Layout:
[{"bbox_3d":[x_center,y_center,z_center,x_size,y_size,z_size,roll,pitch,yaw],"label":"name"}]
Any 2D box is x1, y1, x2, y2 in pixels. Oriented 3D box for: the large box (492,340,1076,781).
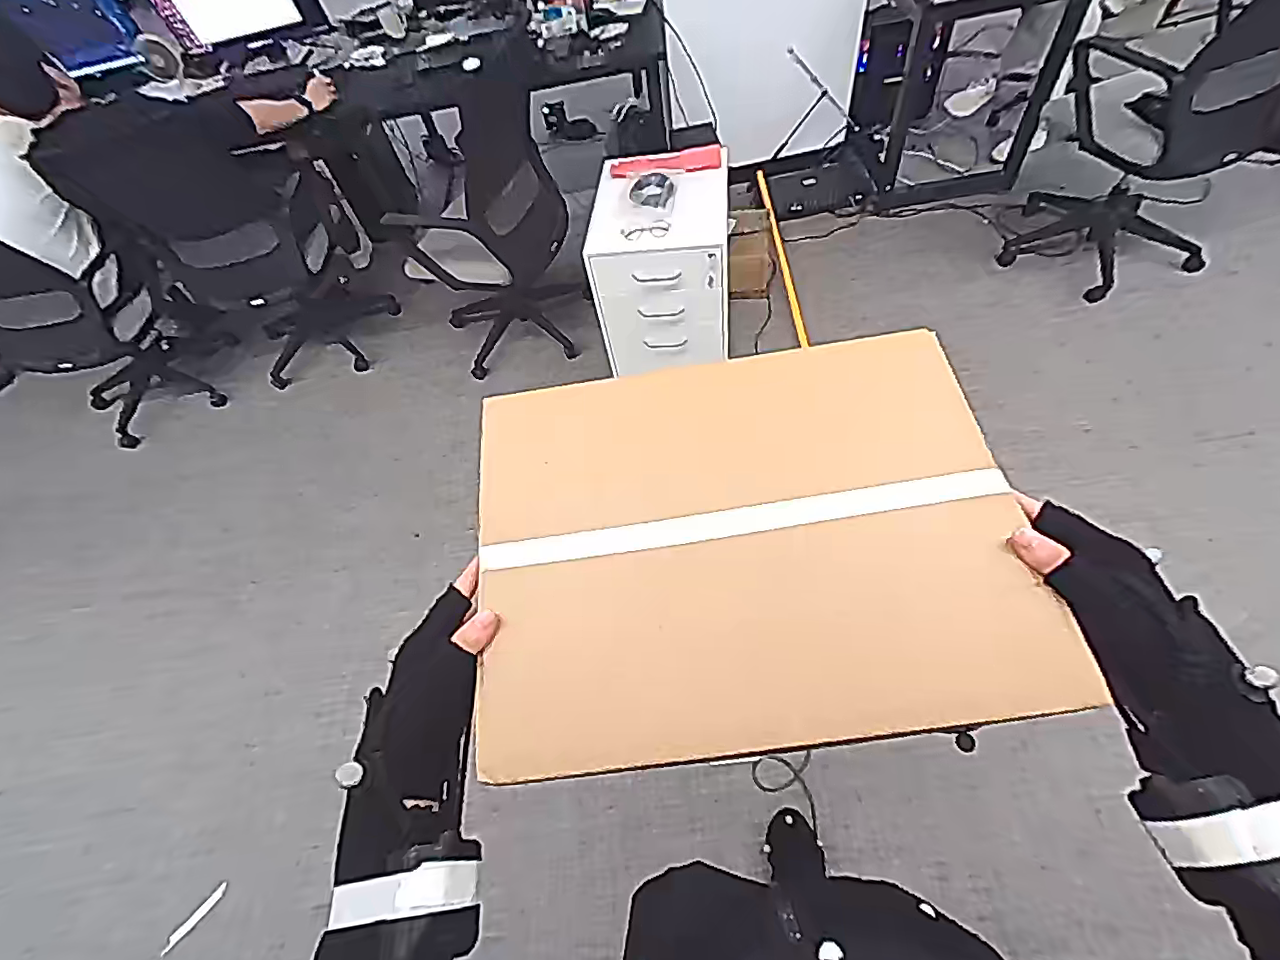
[{"bbox_3d":[0.095,0.104,0.562,0.408,0.320,0.320,-9,62,3],"label":"large box"}]
